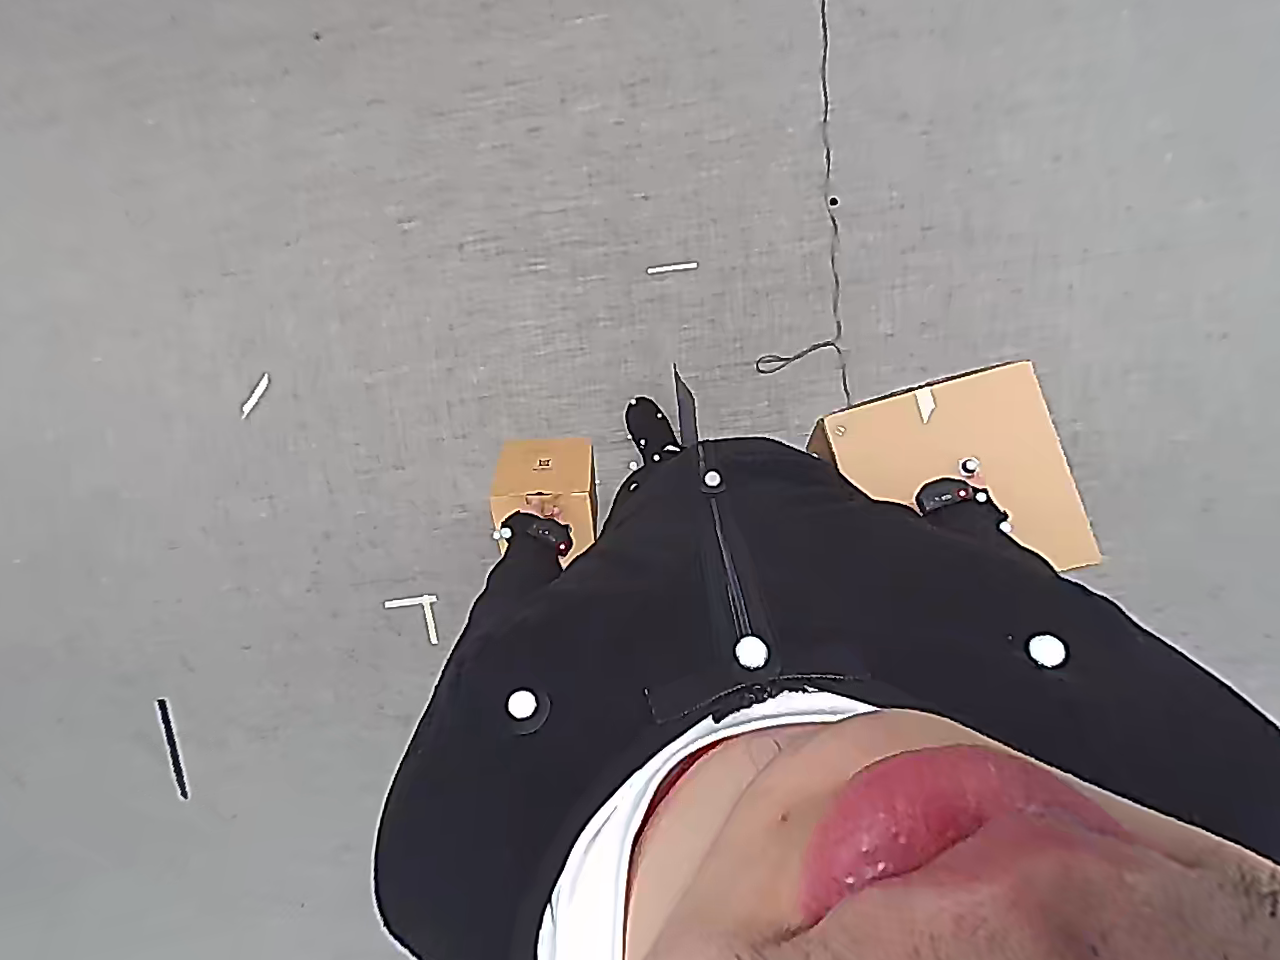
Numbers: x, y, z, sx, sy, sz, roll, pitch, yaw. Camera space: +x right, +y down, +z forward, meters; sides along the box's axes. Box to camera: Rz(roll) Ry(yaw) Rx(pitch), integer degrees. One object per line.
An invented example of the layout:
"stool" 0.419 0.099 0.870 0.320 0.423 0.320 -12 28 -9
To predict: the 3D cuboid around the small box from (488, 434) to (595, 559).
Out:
"small box" -0.170 0.032 0.999 0.168 0.179 0.176 -1 127 -2
